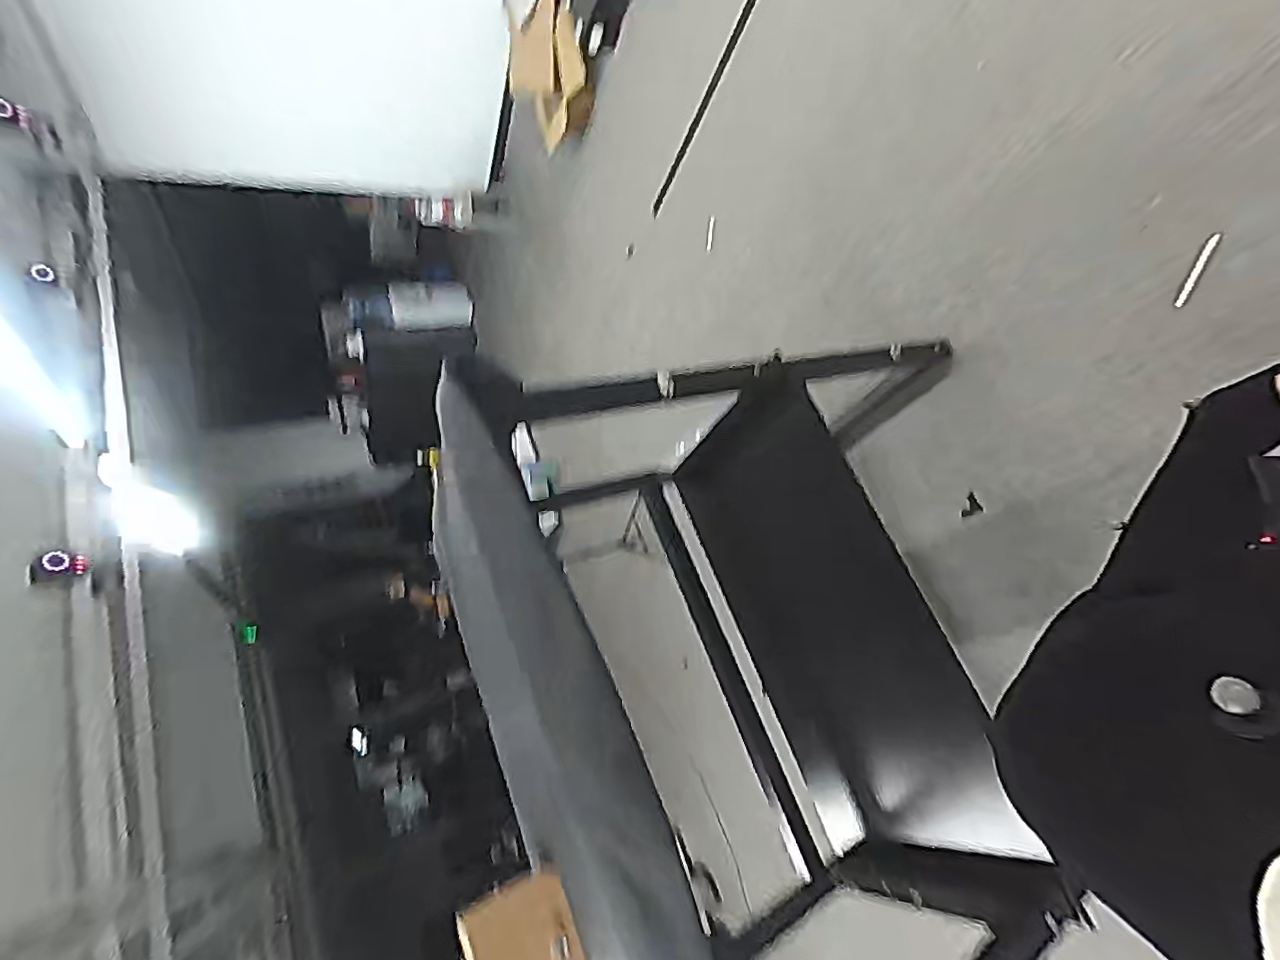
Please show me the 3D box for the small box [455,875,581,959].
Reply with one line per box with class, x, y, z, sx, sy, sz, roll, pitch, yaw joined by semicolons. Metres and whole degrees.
small box;-0.210;0.820;0.938;0.168;0.176;0.179;63;147;22
